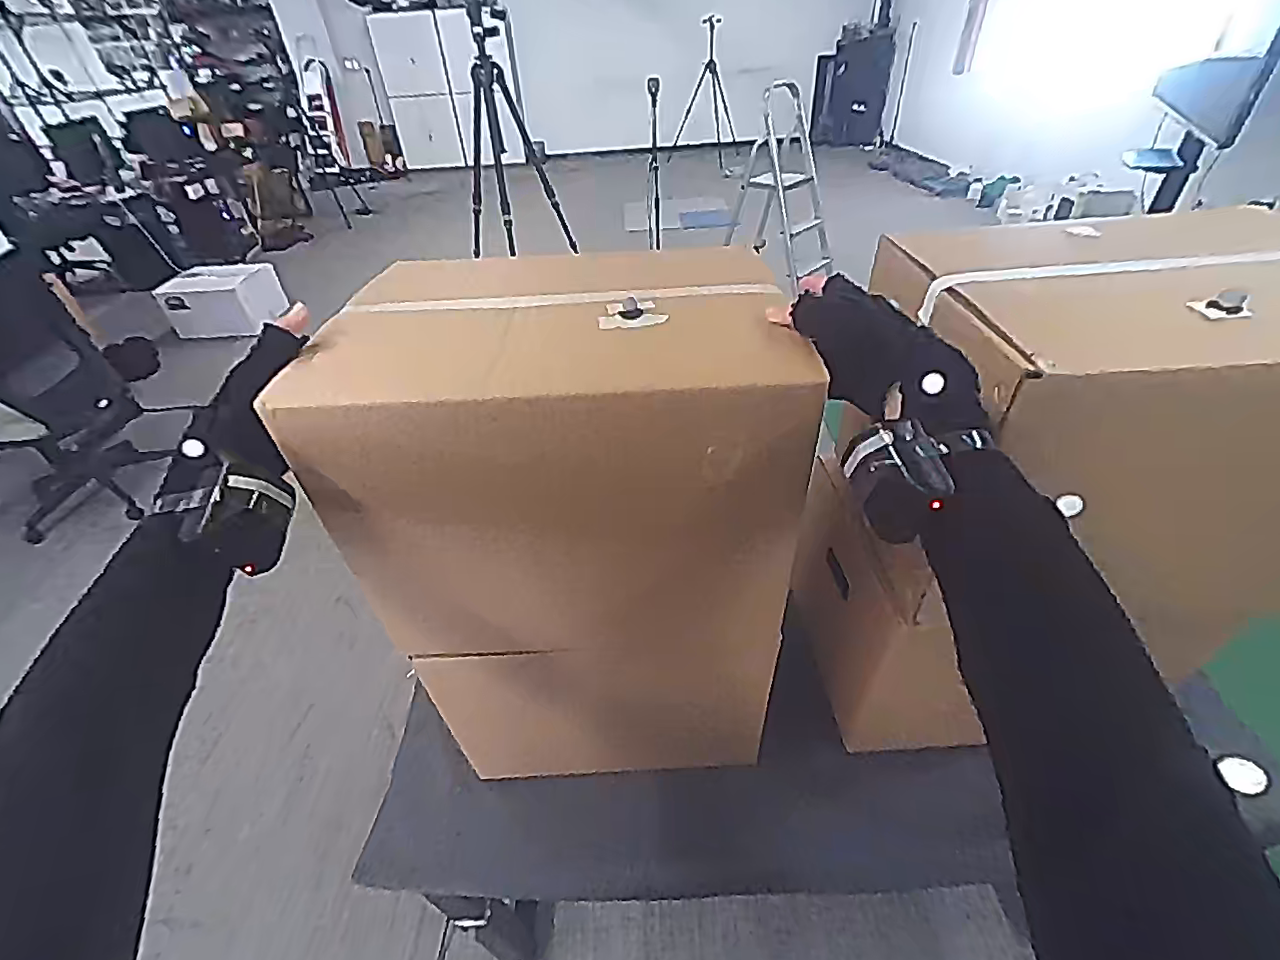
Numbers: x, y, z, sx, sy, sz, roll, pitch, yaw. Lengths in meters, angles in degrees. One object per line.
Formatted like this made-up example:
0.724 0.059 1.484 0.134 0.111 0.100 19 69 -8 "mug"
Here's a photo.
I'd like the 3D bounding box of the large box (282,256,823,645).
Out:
-0.065 -0.039 0.598 0.408 0.320 0.320 -2 40 0 "large box"
